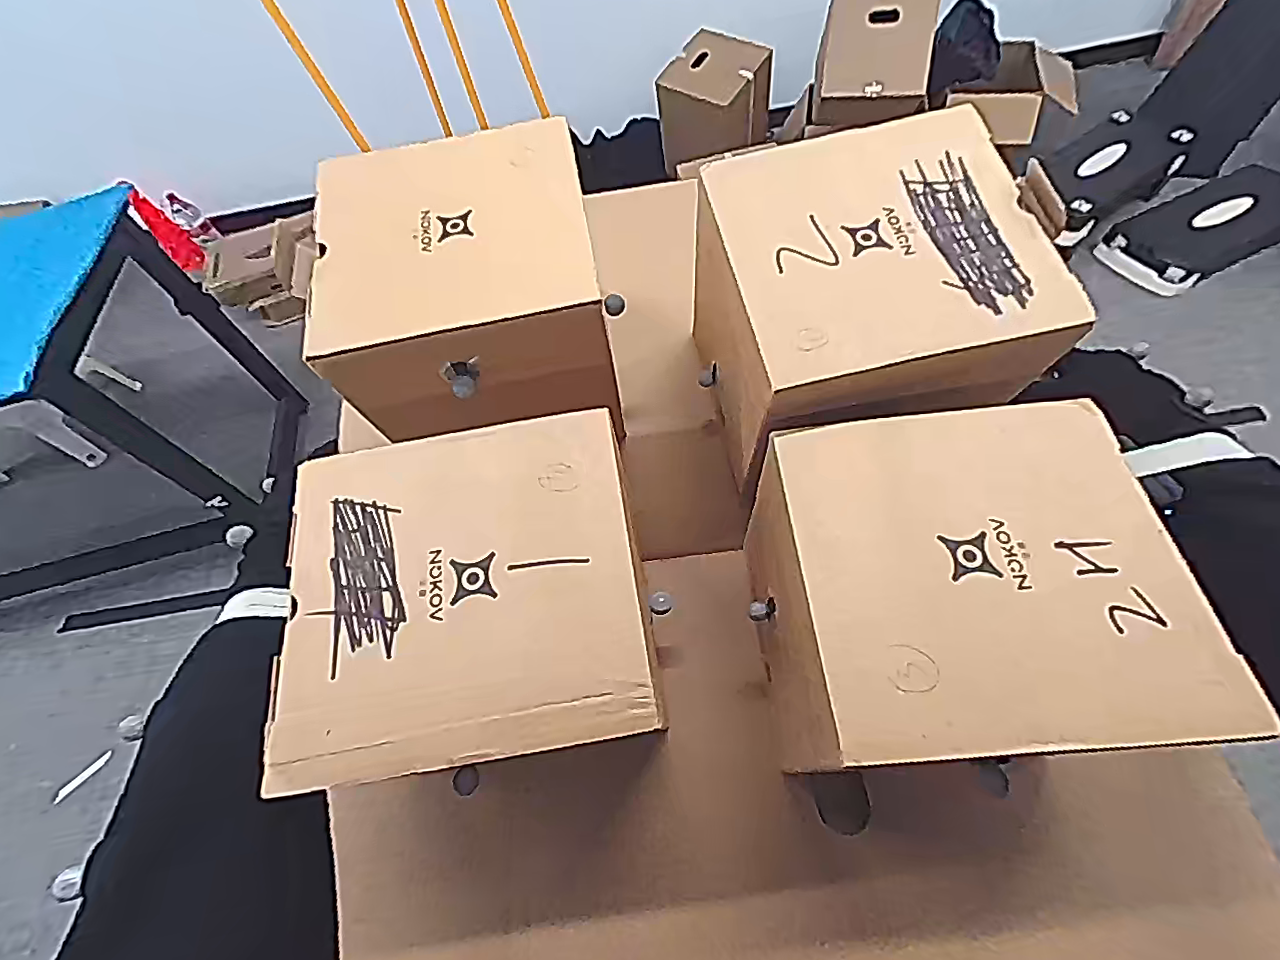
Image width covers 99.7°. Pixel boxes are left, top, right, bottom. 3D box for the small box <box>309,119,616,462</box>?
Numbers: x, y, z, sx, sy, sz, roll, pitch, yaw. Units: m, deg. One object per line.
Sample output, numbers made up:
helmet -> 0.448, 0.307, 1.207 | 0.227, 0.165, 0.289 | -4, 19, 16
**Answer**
small box -> -0.117, -0.131, 0.420 | 0.179, 0.176, 0.168 | -12, 67, 0
